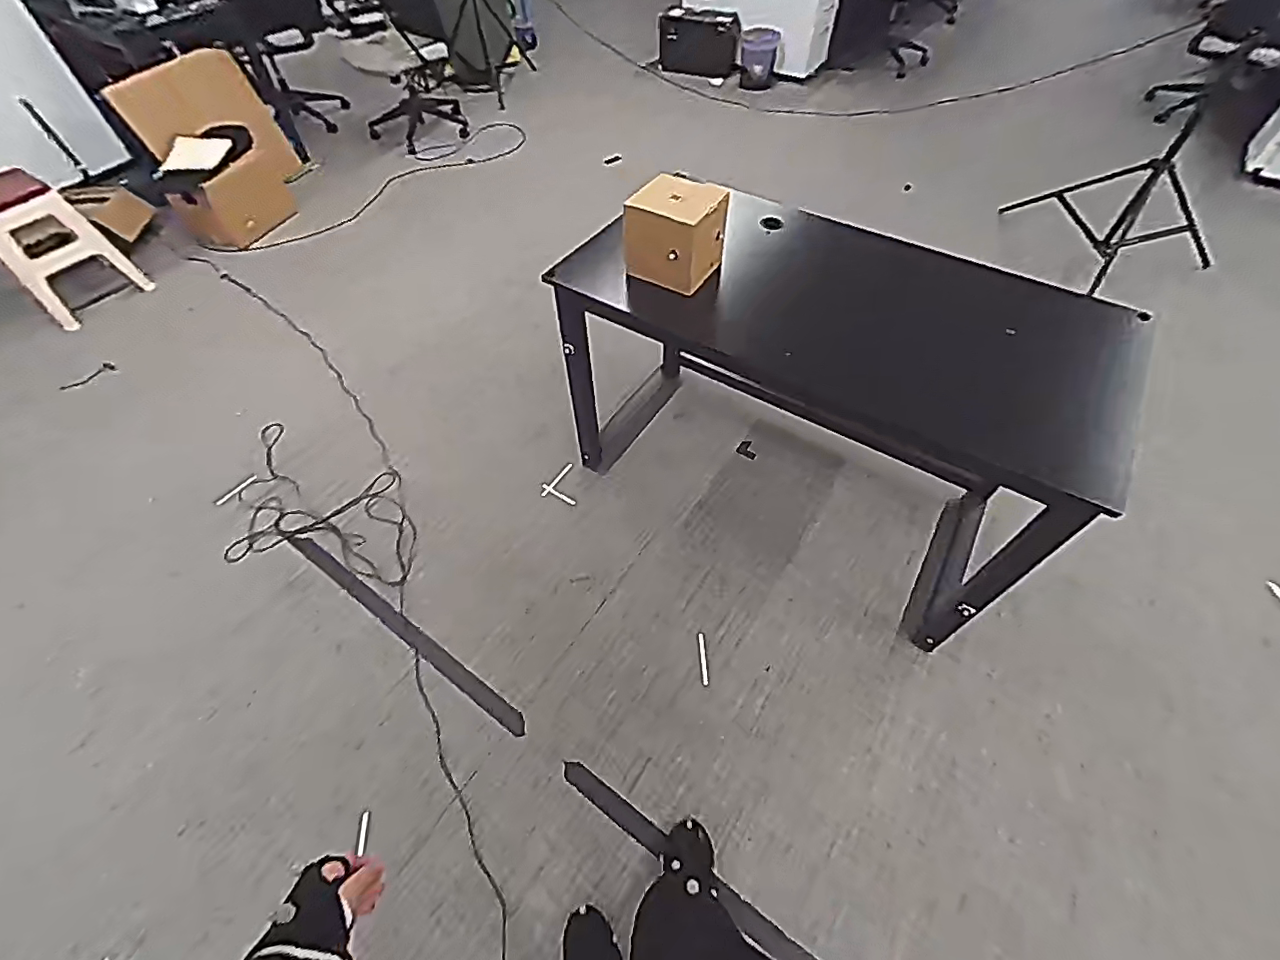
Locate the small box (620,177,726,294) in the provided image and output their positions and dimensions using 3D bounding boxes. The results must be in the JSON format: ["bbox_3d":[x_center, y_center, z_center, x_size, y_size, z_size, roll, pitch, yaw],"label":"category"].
[{"bbox_3d":[0.073,-0.547,1.219,0.179,0.176,0.168,25,57,19],"label":"small box"}]
